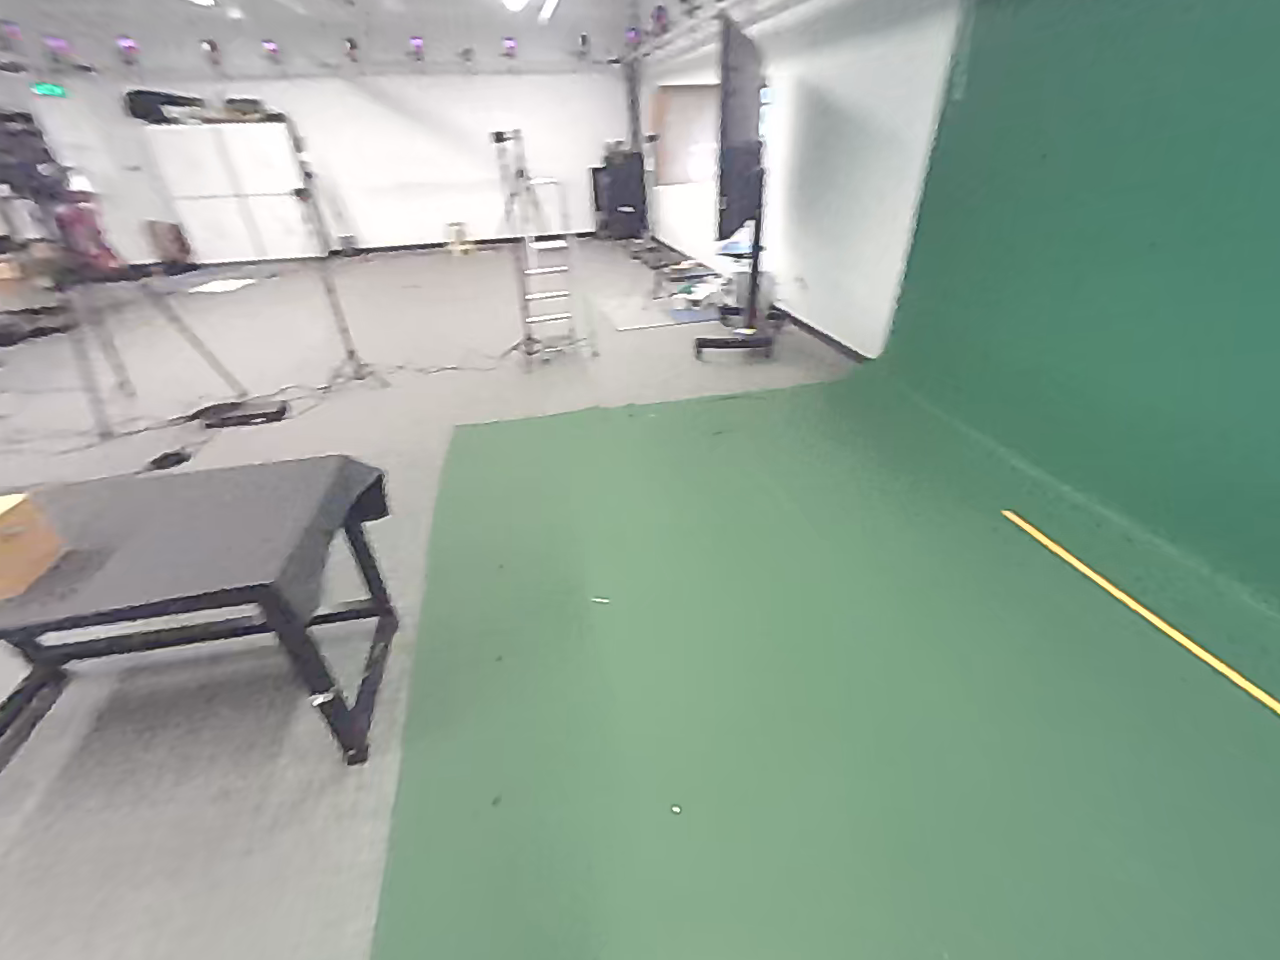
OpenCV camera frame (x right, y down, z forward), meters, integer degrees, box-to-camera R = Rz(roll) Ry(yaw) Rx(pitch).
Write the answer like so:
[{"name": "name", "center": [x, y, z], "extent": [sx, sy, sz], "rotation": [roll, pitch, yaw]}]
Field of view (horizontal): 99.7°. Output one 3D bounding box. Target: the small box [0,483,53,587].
[{"name": "small box", "center": [-1.467, 0.126, 1.186], "extent": [0.168, 0.176, 0.179], "rotation": [-6, 33, -9]}]
